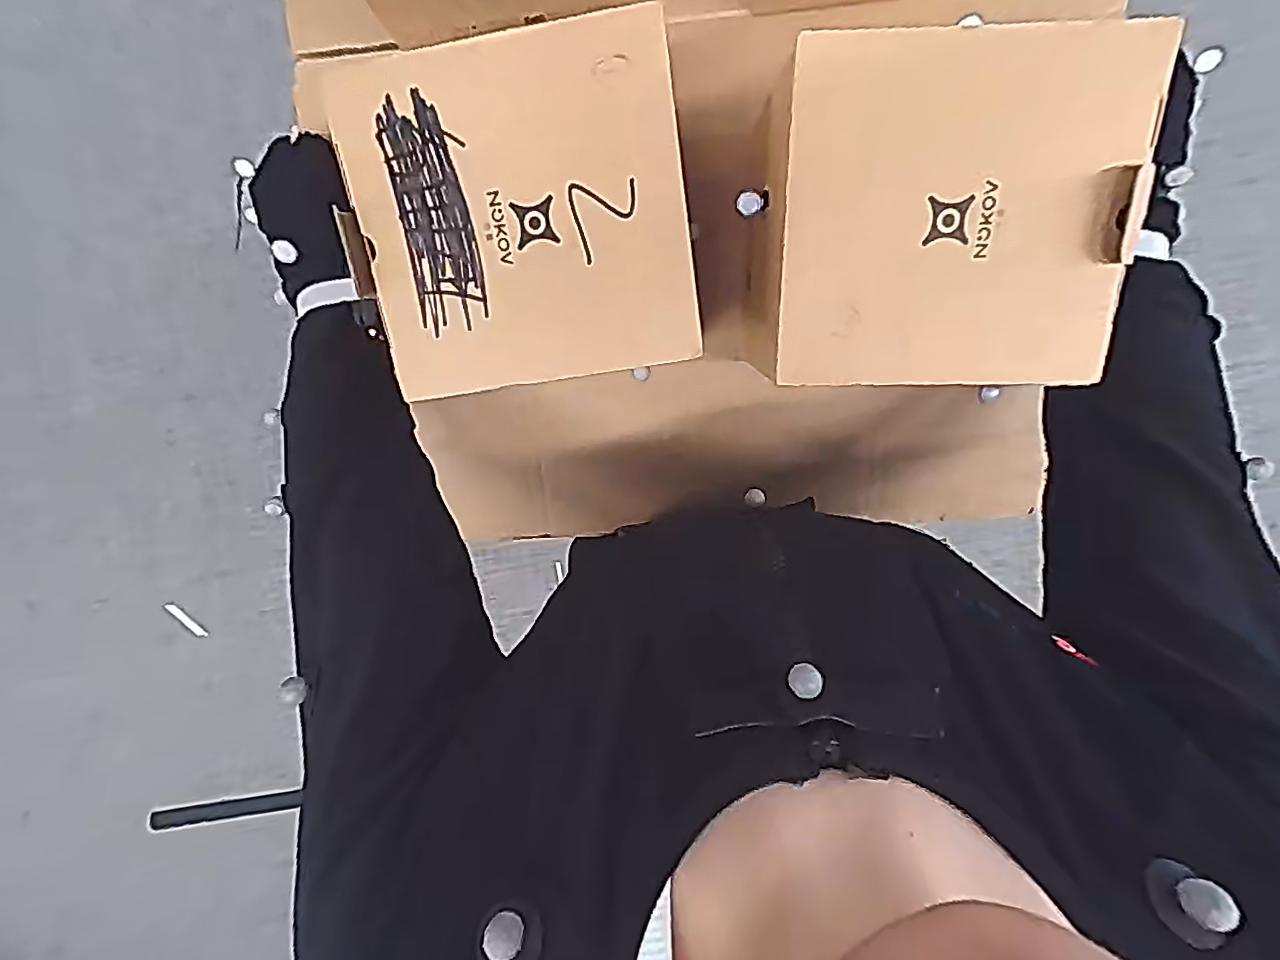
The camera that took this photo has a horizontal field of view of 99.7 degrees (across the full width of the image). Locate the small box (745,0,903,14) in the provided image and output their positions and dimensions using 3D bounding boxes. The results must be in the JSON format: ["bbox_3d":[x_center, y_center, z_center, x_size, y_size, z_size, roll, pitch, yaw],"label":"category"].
[{"bbox_3d":[0.152,-0.408,0.297,0.179,0.176,0.168,-3,98,5],"label":"small box"}]
